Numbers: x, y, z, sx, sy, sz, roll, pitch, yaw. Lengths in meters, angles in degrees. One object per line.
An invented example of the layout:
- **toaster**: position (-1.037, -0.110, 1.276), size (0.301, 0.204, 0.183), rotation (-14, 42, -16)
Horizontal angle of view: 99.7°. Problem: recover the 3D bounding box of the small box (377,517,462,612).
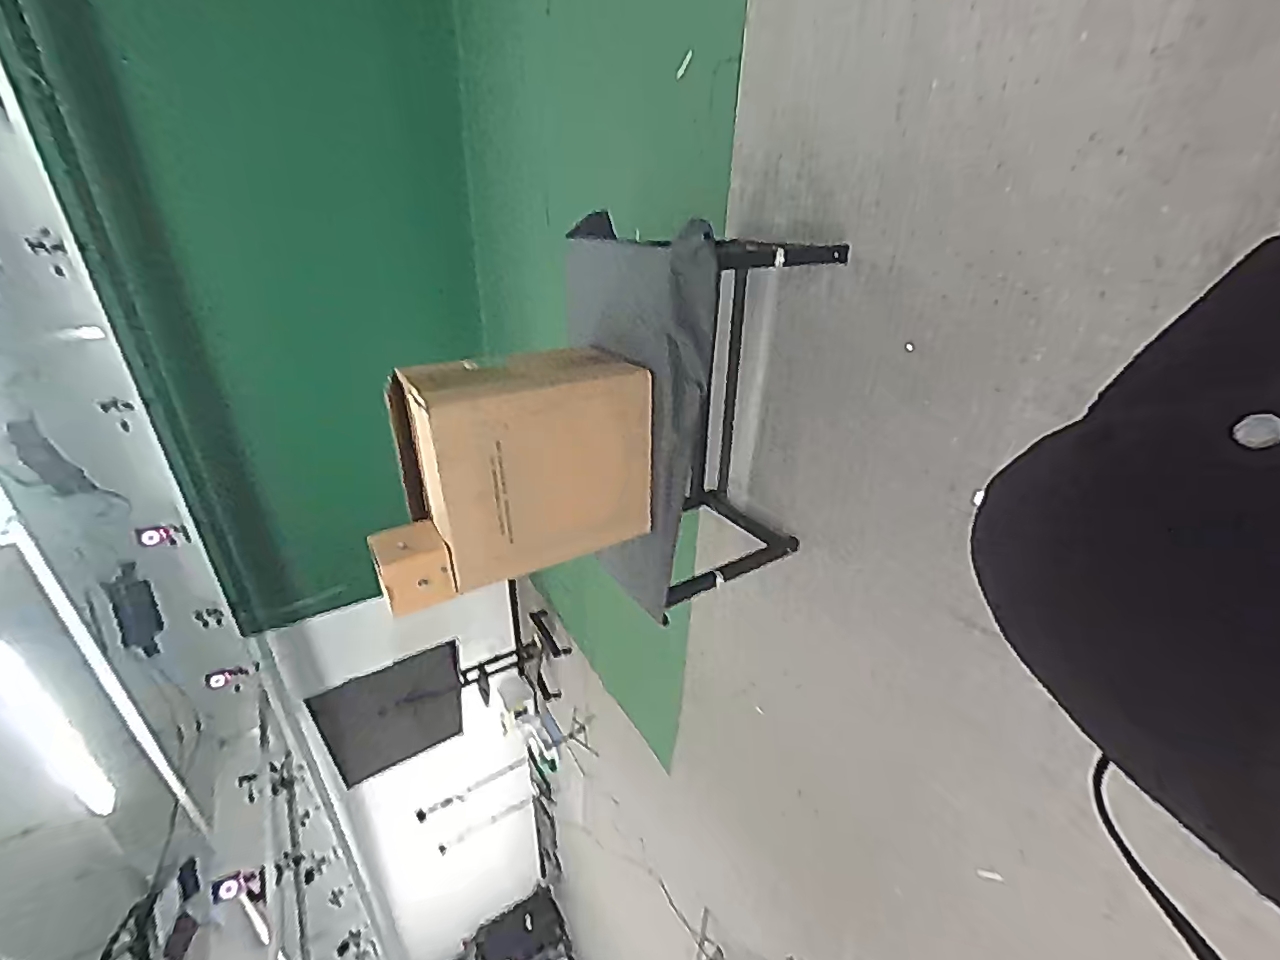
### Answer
- **small box**: position (-0.597, 0.222, 1.479), size (0.179, 0.176, 0.168), rotation (34, 133, 49)
